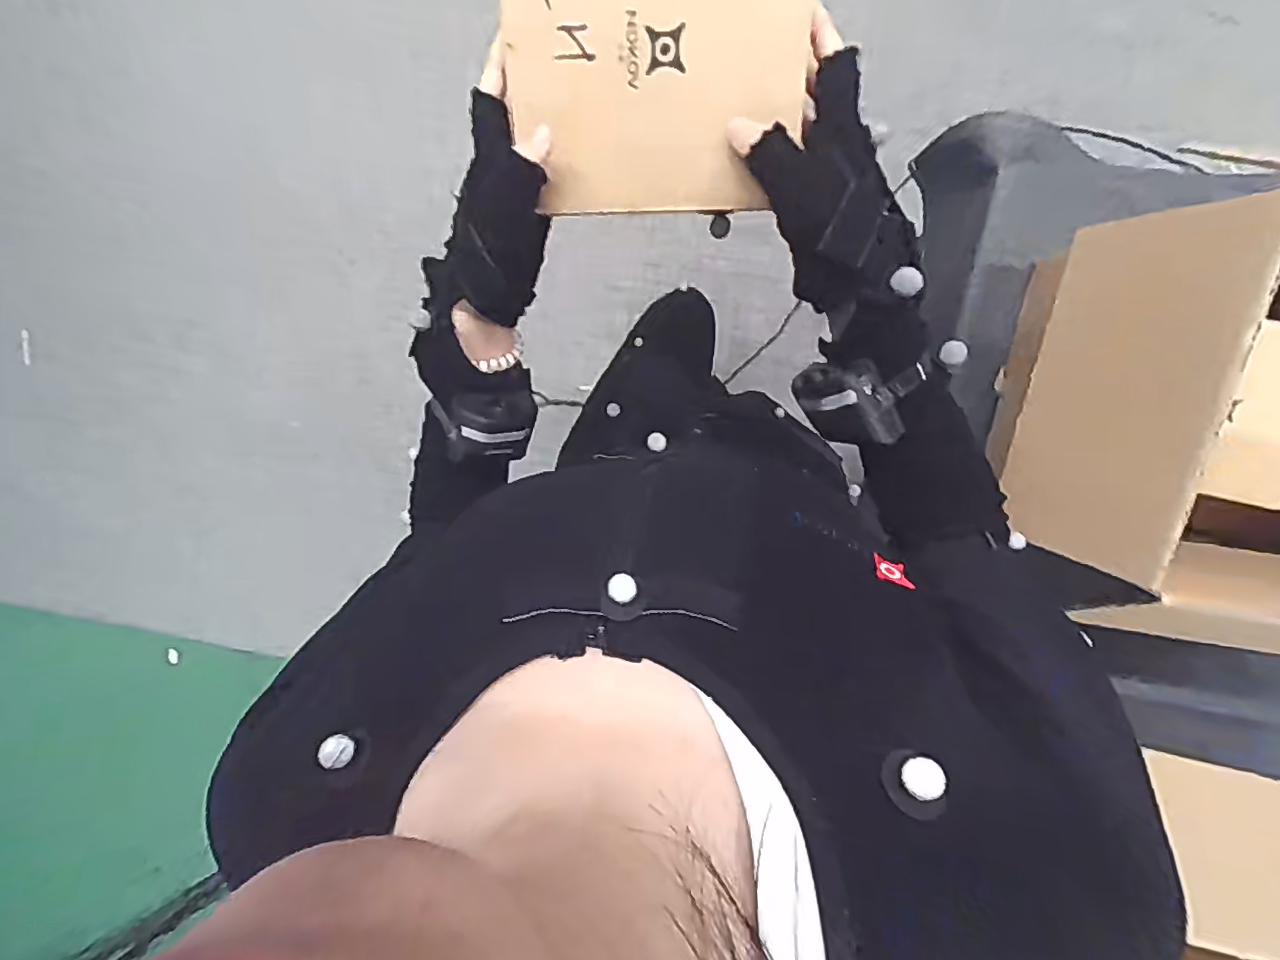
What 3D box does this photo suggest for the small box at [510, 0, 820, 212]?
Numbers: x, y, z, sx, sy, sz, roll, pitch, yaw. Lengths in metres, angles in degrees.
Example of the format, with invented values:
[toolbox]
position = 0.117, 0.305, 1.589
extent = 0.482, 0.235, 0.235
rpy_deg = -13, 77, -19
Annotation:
[small box]
position = 0.021, -0.283, 0.382
extent = 0.179, 0.176, 0.168
rpy_deg = 3, 116, 7
